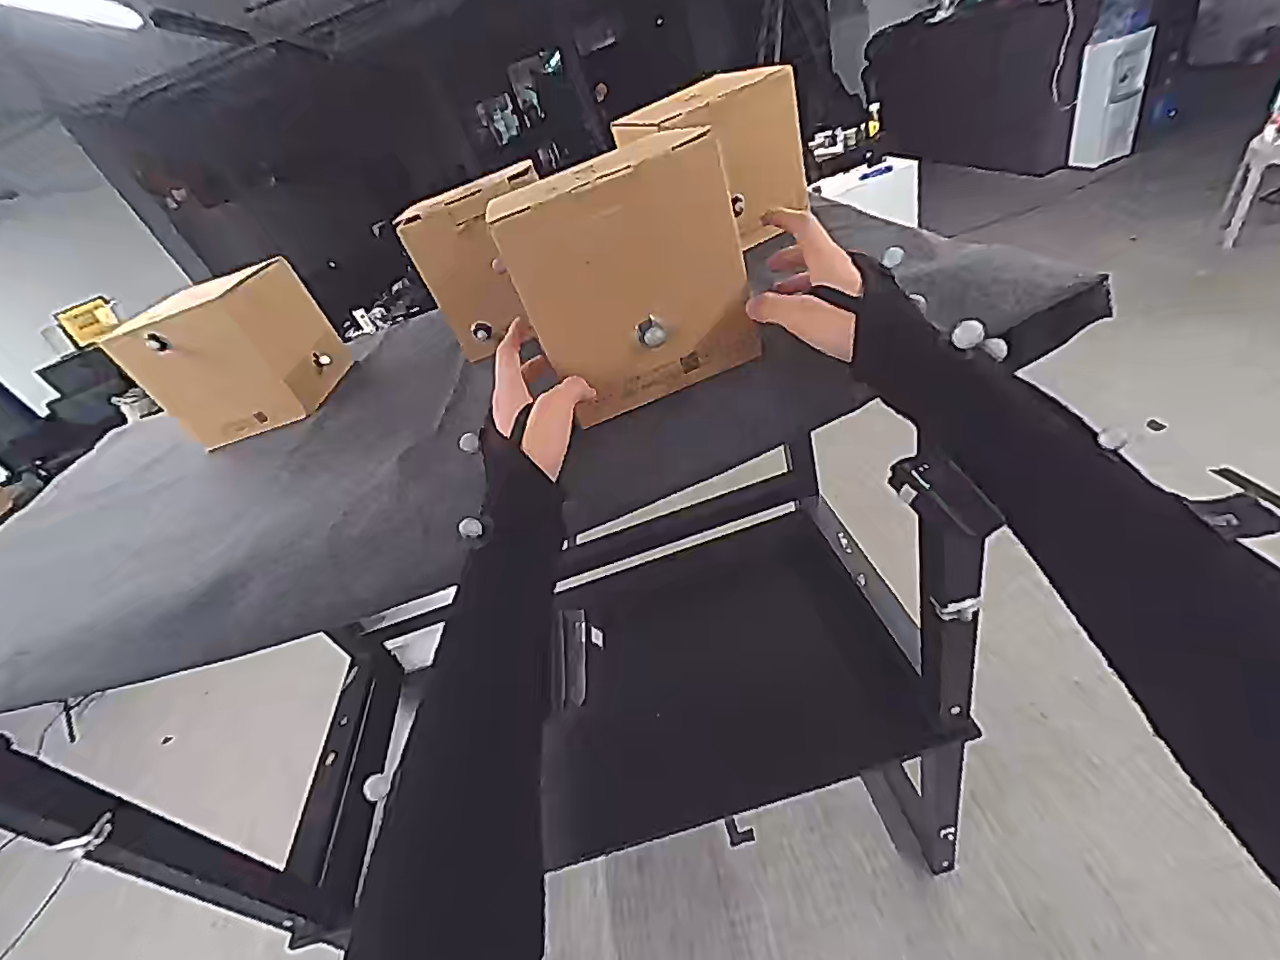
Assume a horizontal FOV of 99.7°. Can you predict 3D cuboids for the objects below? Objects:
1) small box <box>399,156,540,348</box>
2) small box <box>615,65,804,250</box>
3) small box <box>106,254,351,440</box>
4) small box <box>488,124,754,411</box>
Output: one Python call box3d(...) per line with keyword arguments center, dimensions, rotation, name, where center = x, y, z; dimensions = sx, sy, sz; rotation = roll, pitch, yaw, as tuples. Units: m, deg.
box3d(center=(-0.176, -0.289, 0.695), dimensions=(0.168, 0.176, 0.179), rotation=(-21, 35, 1), name="small box")
box3d(center=(0.089, -0.400, 0.697), dimensions=(0.168, 0.176, 0.179), rotation=(-27, 38, -5), name="small box")
box3d(center=(-0.535, -0.181, 0.740), dimensions=(0.168, 0.176, 0.179), rotation=(-16, 36, 7), name="small box")
box3d(center=(-0.017, -0.185, 0.474), dimensions=(0.168, 0.176, 0.179), rotation=(-22, 34, 0), name="small box")
